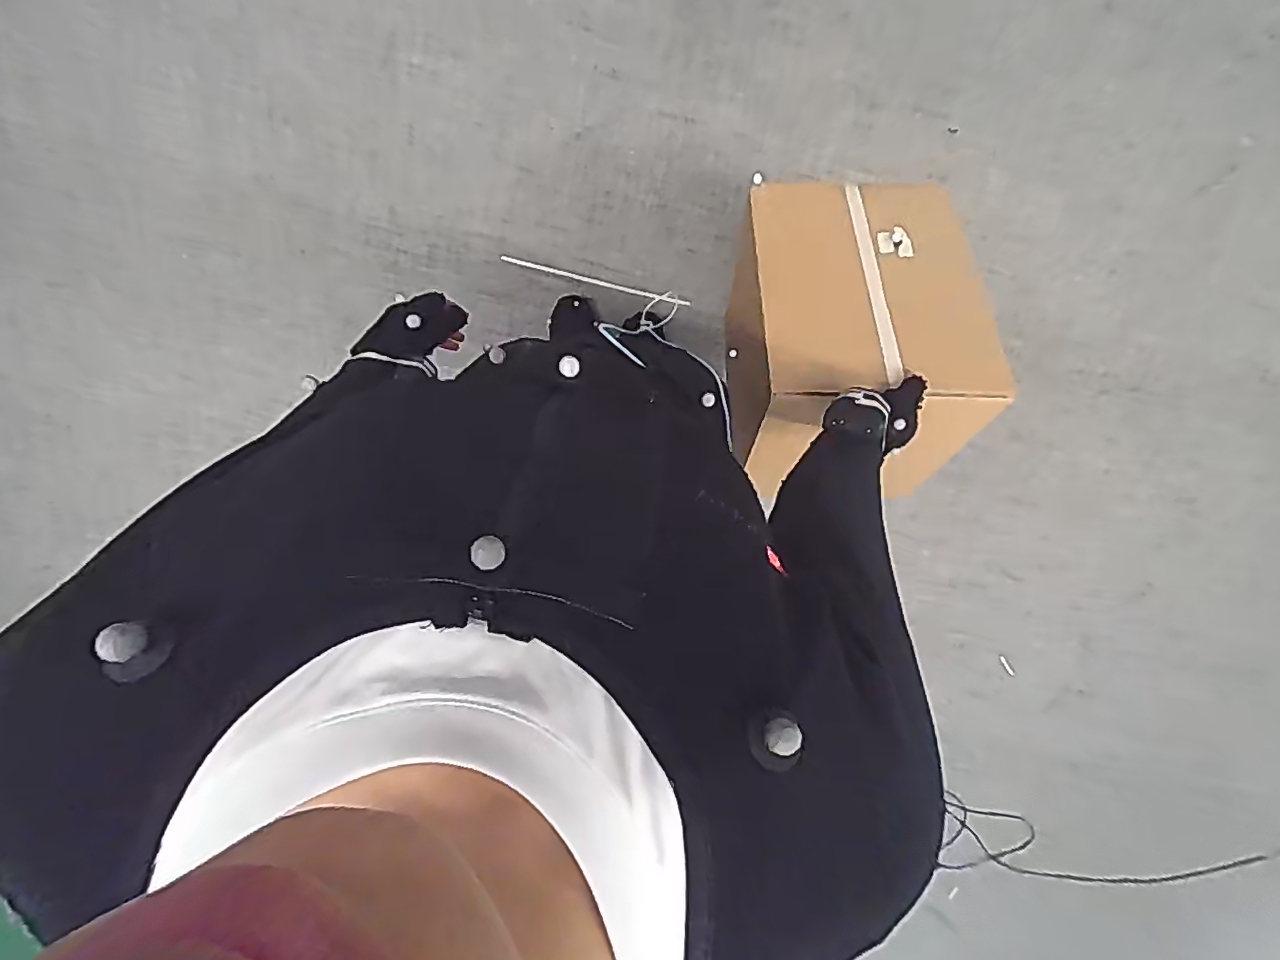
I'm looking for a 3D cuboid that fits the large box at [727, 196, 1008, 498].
[{"bbox_3d":[0.329,-0.209,0.920,0.320,0.408,0.320,2,153,0],"label":"large box"}]
